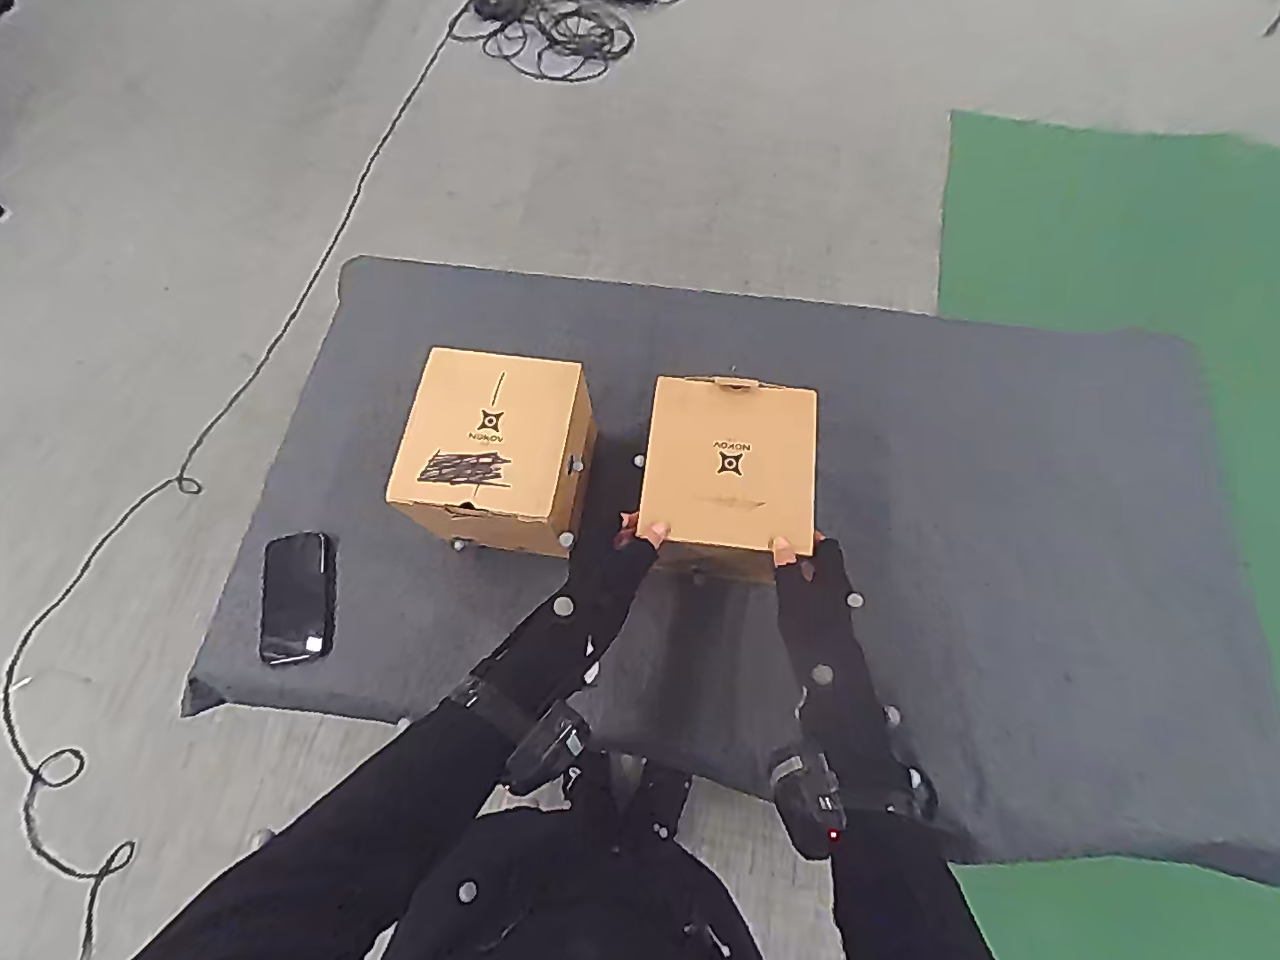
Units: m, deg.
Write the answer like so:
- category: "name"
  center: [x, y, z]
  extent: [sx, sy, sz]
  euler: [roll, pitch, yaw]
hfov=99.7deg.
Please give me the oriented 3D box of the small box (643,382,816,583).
- category: "small box"
  center: [0.094, 0.011, 0.614]
  extent: [0.168, 0.176, 0.179]
  euler: [5, 72, 4]

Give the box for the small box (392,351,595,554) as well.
- category: "small box"
  center: [-0.149, -0.022, 0.626]
  extent: [0.168, 0.176, 0.179]
  euler: [8, 69, 4]
